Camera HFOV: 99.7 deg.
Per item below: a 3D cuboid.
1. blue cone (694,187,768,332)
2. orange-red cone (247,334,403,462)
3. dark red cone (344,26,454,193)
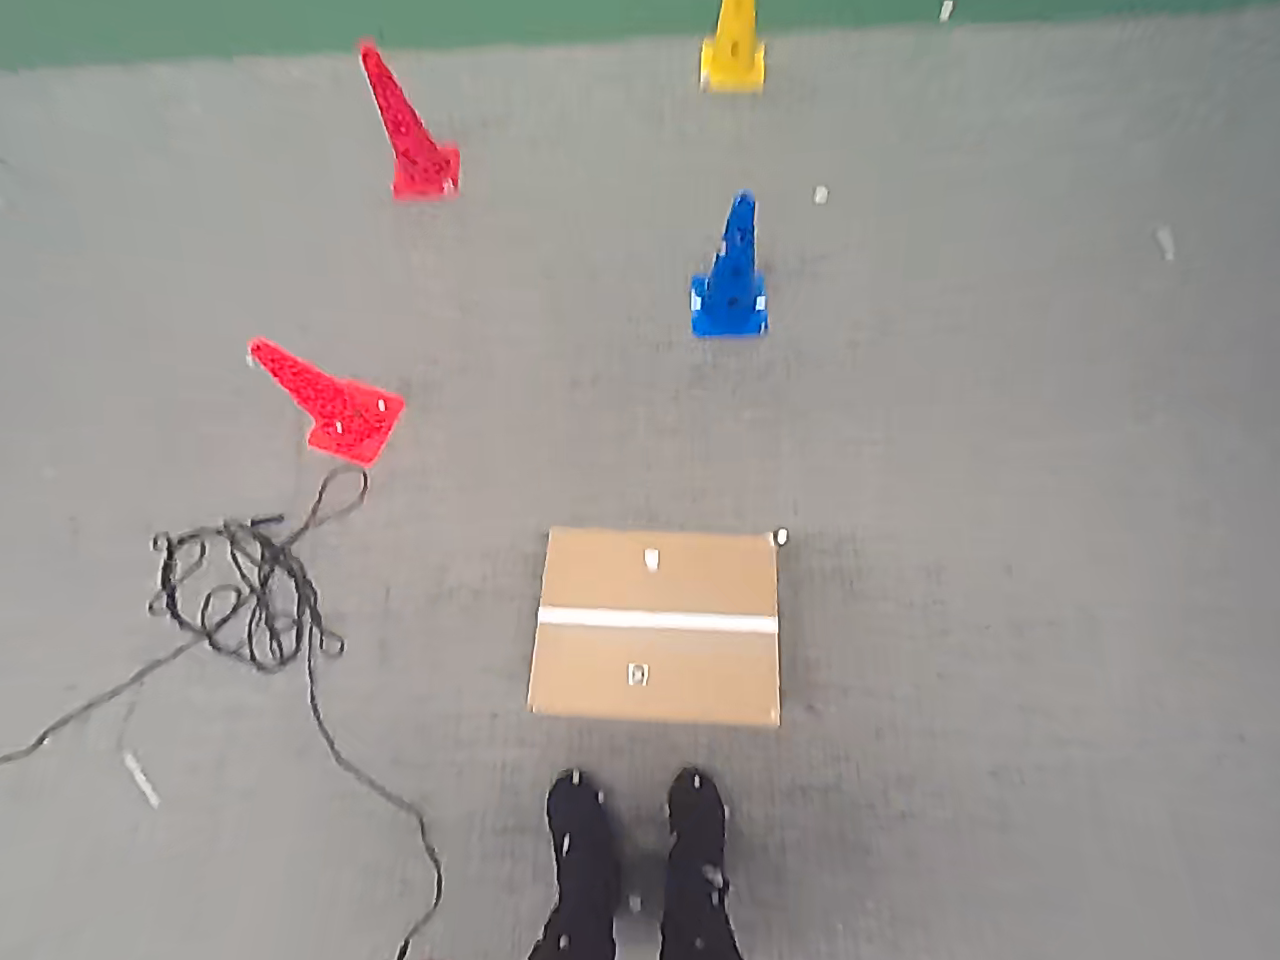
[{"bbox_3d":[0.231,-0.530,1.288,0.192,0.380,0.193,0,71,4],"label":"blue cone"},{"bbox_3d":[-0.745,-0.211,1.229,0.199,0.360,0.198,18,72,11],"label":"orange-red cone"},{"bbox_3d":[-0.673,-1.007,1.477,0.202,0.394,0.201,-7,68,2],"label":"dark red cone"}]
